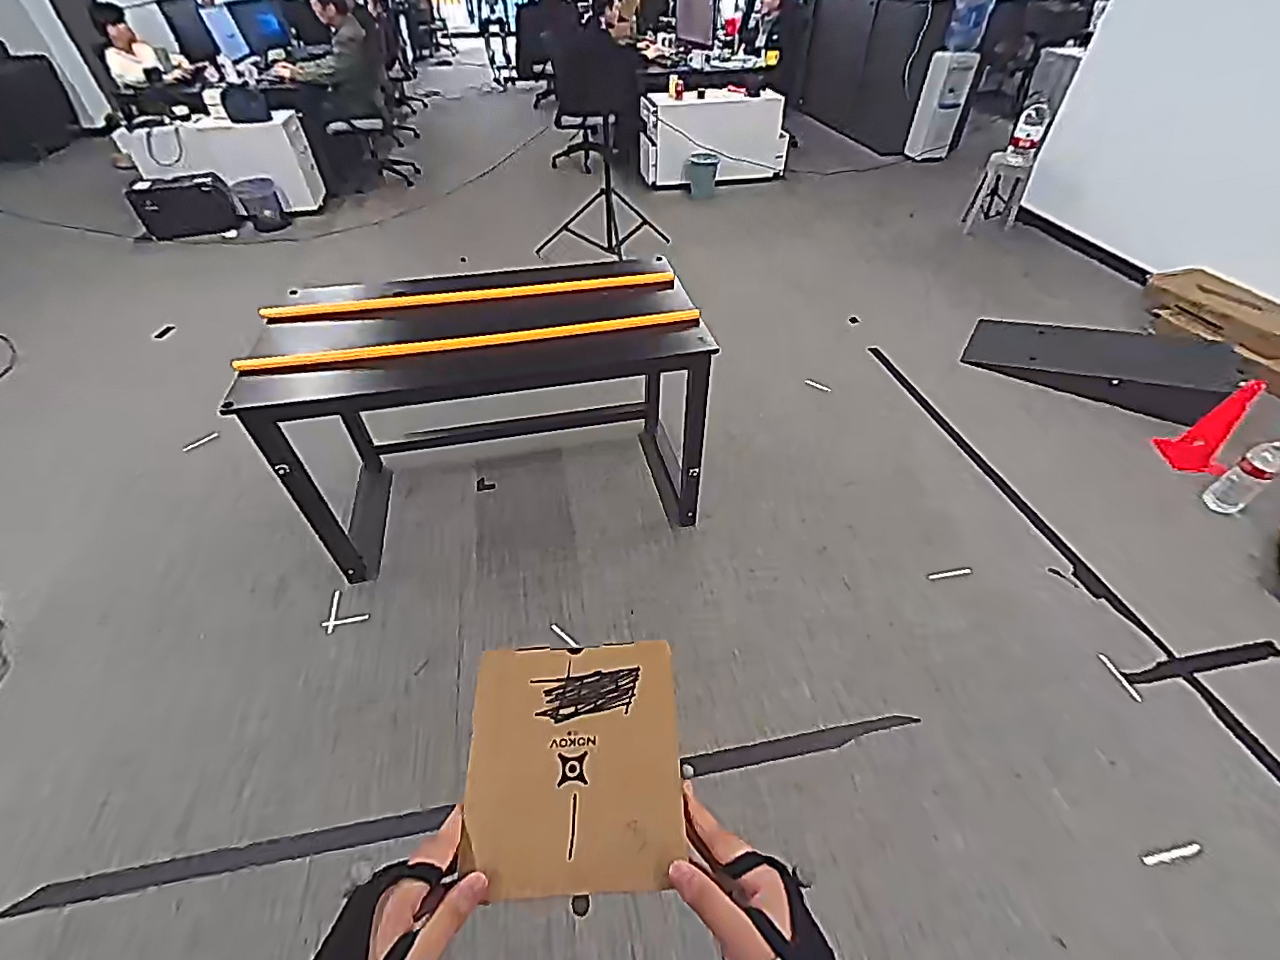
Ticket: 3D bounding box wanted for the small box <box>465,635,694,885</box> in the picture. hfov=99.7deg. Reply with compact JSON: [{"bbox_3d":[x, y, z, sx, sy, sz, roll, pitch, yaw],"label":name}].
[{"bbox_3d":[-0.046,0.258,0.495,0.168,0.176,0.179,-3,55,-1],"label":"small box"}]
